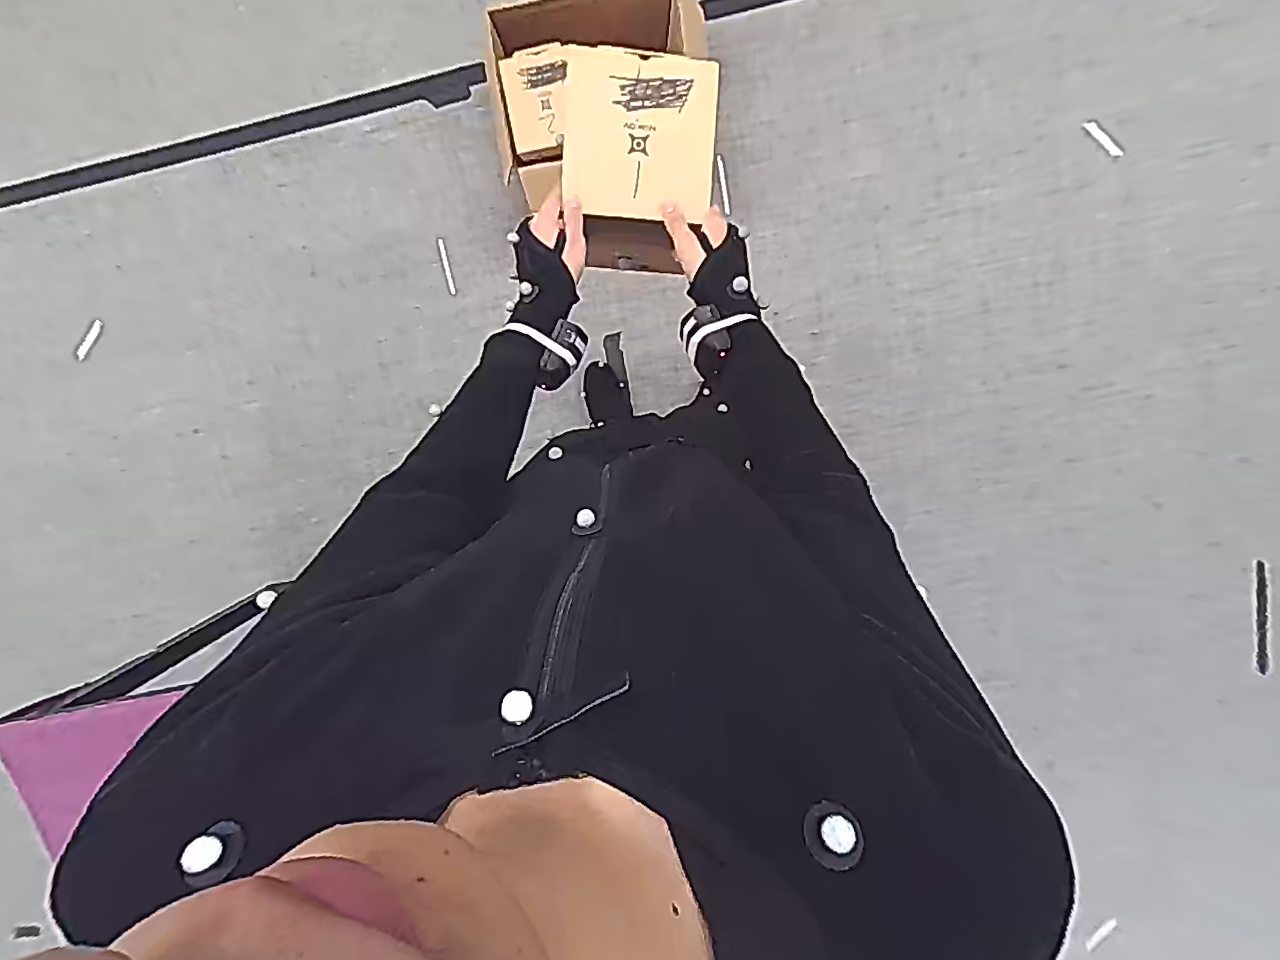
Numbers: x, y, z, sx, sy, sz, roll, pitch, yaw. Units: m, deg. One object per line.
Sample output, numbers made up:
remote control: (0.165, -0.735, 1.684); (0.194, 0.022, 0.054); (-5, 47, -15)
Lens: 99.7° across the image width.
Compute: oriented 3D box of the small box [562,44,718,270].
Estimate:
small box: (-0.006, -0.383, 0.671); (0.168, 0.176, 0.179); (3, 93, -4)
